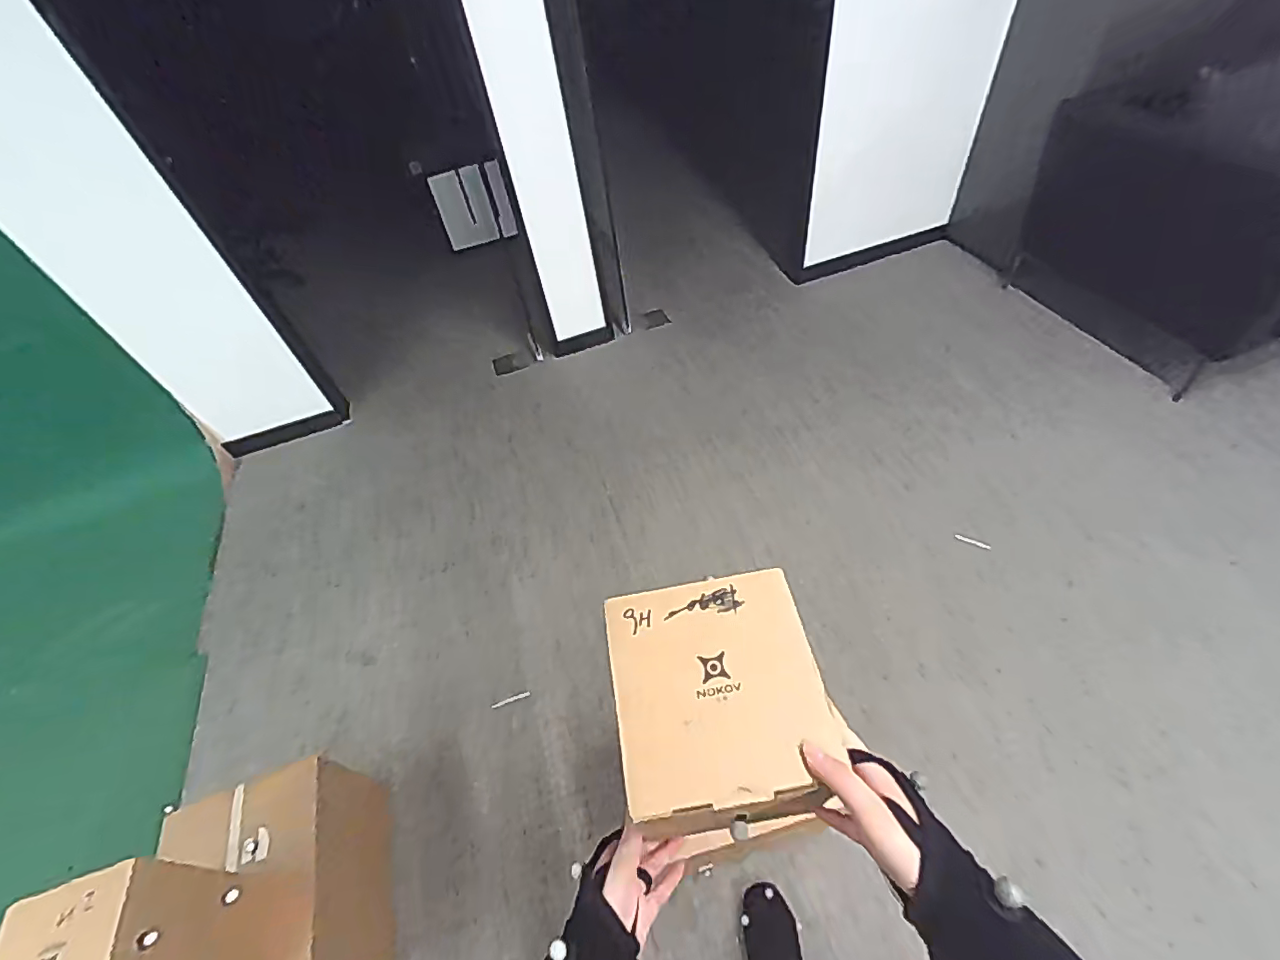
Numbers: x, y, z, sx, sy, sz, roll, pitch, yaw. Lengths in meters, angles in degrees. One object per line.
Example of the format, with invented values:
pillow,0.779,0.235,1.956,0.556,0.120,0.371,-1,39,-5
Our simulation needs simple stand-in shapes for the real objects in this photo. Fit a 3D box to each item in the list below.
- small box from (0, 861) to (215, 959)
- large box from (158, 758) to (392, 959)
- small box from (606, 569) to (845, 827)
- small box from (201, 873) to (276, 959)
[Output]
small box,-0.737,0.663,0.747,0.168,0.176,0.179,-18,49,-7
large box,-0.737,0.871,1.110,0.320,0.320,0.408,-20,49,-8
small box,0.069,0.210,0.506,0.168,0.176,0.179,-10,52,-1
small box,-0.726,0.771,0.871,0.168,0.176,0.179,-18,49,-7
